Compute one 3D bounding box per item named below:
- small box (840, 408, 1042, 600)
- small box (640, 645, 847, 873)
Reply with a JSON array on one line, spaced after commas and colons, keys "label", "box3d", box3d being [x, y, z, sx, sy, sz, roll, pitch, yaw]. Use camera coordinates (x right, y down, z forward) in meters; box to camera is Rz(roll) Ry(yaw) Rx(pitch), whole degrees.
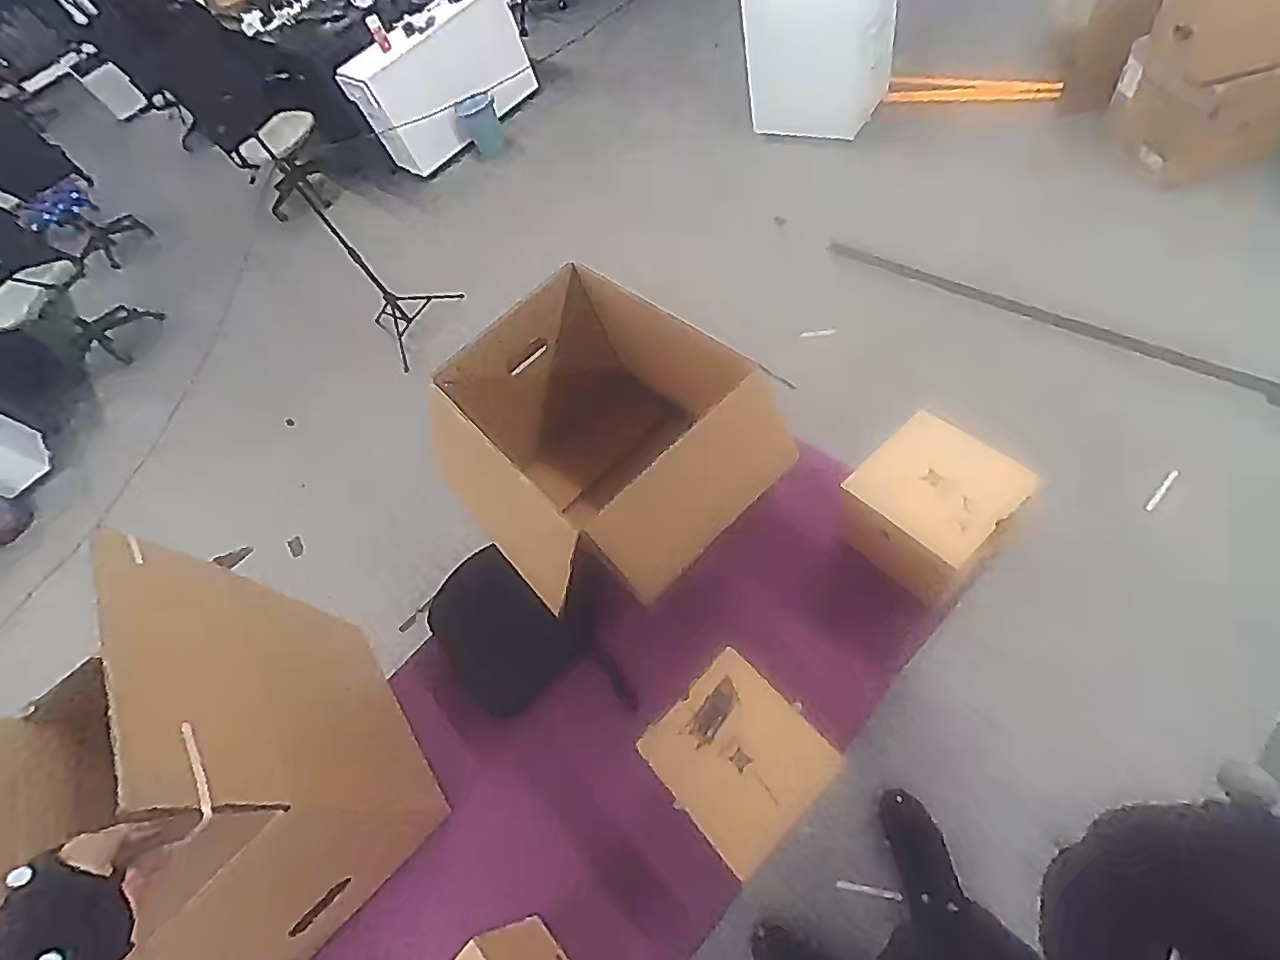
[{"label": "small box", "box3d": [0.402, 0.039, 0.760, 0.168, 0.176, 0.179, -42, 56, -7]}, {"label": "small box", "box3d": [0.131, 0.343, 0.675, 0.168, 0.176, 0.179, -44, 58, -9]}]
